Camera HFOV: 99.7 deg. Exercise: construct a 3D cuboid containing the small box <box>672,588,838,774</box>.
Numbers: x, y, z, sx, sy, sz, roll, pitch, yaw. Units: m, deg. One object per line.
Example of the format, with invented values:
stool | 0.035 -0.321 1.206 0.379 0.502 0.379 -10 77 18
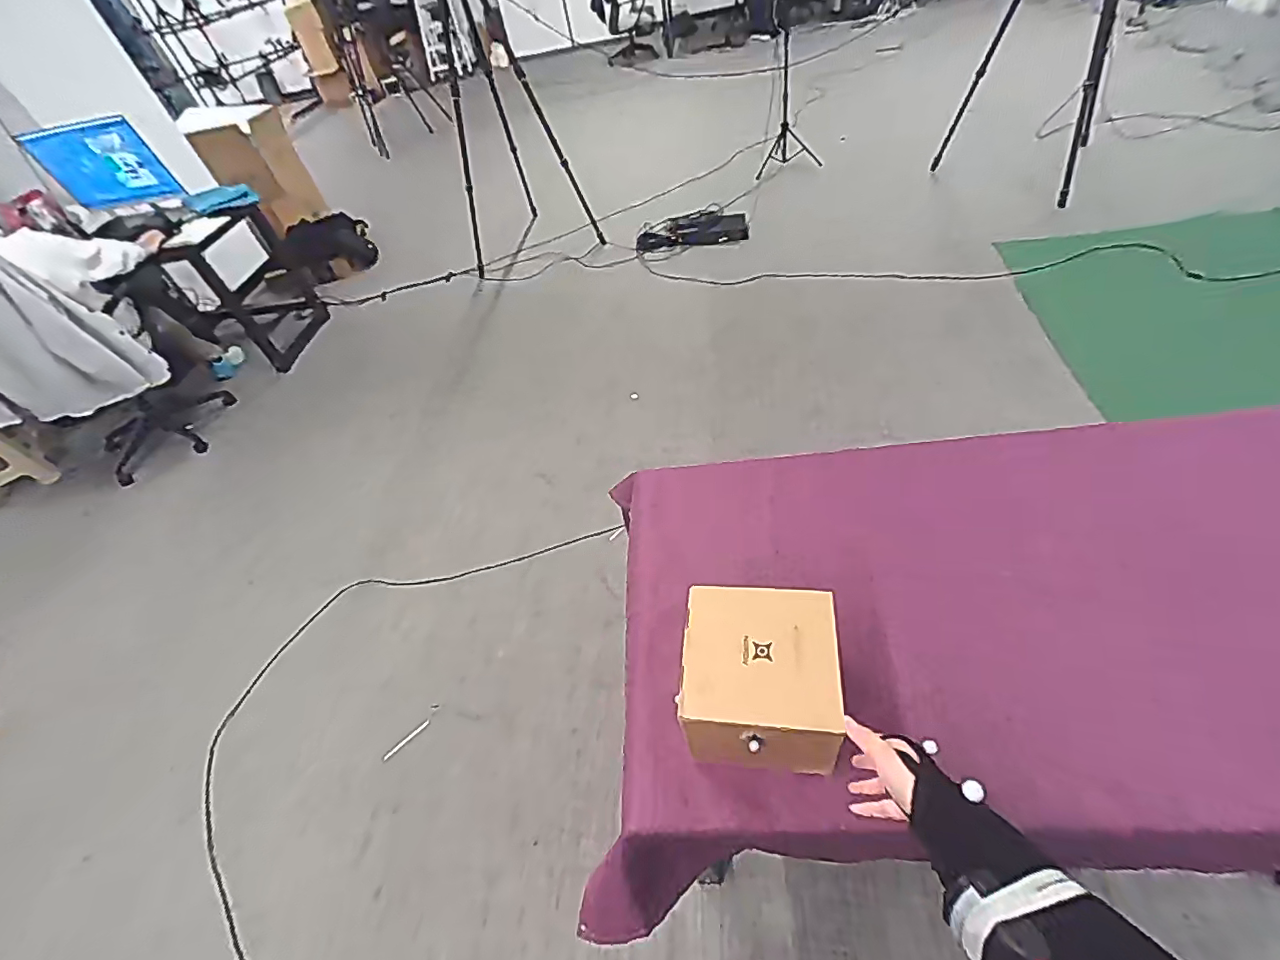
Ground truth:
small box | 0.145 0.252 0.678 0.179 0.176 0.168 0 49 13
